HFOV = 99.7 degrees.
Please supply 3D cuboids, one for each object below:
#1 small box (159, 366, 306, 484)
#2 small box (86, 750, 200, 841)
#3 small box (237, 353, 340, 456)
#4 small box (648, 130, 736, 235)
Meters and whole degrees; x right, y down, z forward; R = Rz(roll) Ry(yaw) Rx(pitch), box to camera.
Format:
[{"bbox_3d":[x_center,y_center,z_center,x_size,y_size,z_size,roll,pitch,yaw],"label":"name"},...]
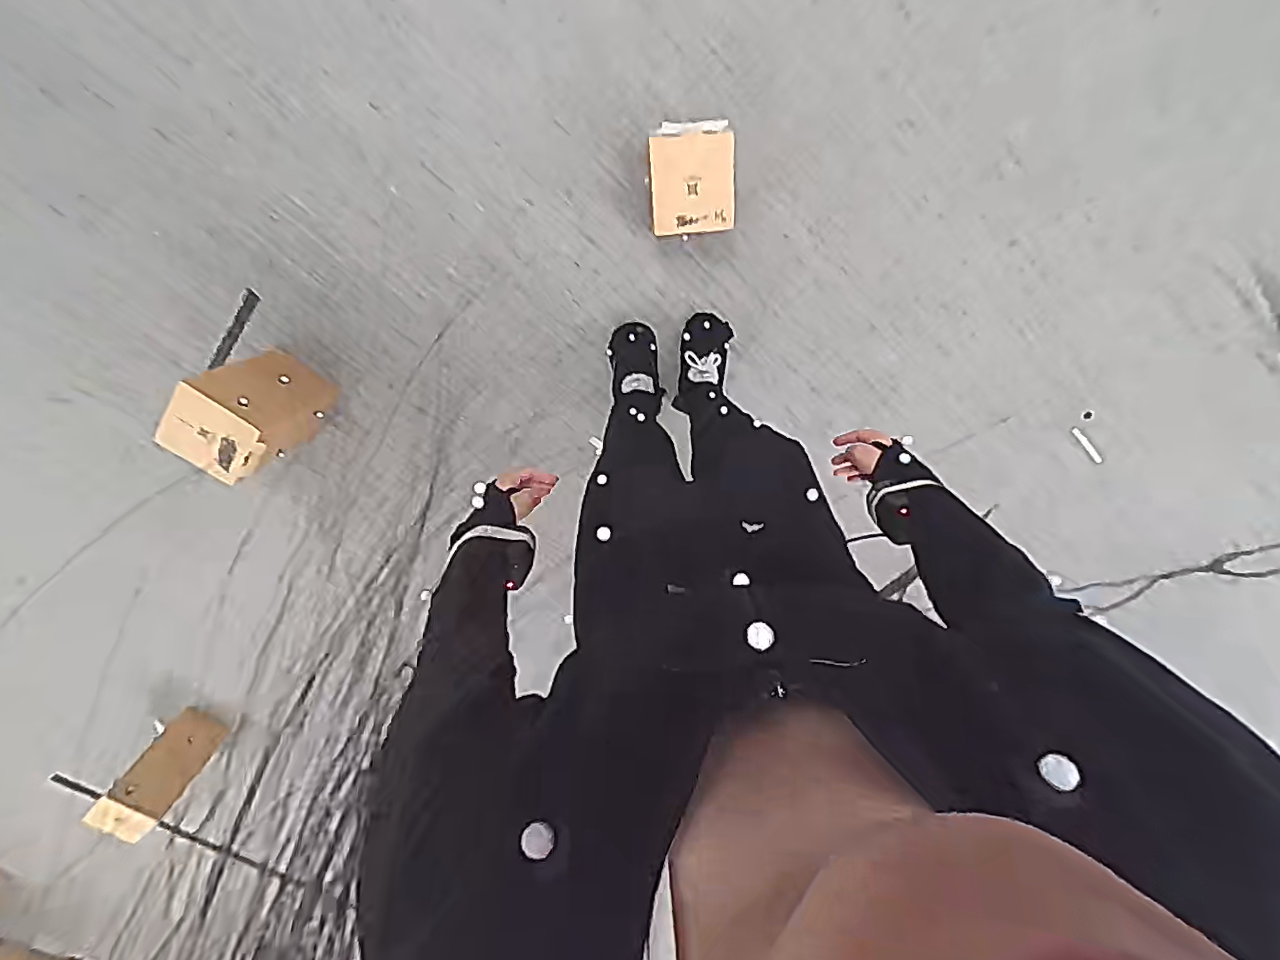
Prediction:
[{"bbox_3d":[-0.889,-0.129,1.197,0.179,0.176,0.168,36,110,-15],"label":"small box"},{"bbox_3d":[-1.577,0.997,1.726,0.168,0.176,0.179,-41,109,18],"label":"small box"},{"bbox_3d":[-0.892,-0.195,1.348,0.179,0.176,0.168,35,110,-14],"label":"small box"},{"bbox_3d":[0.106,-0.618,1.143,0.168,0.176,0.179,-4,115,1],"label":"small box"}]
